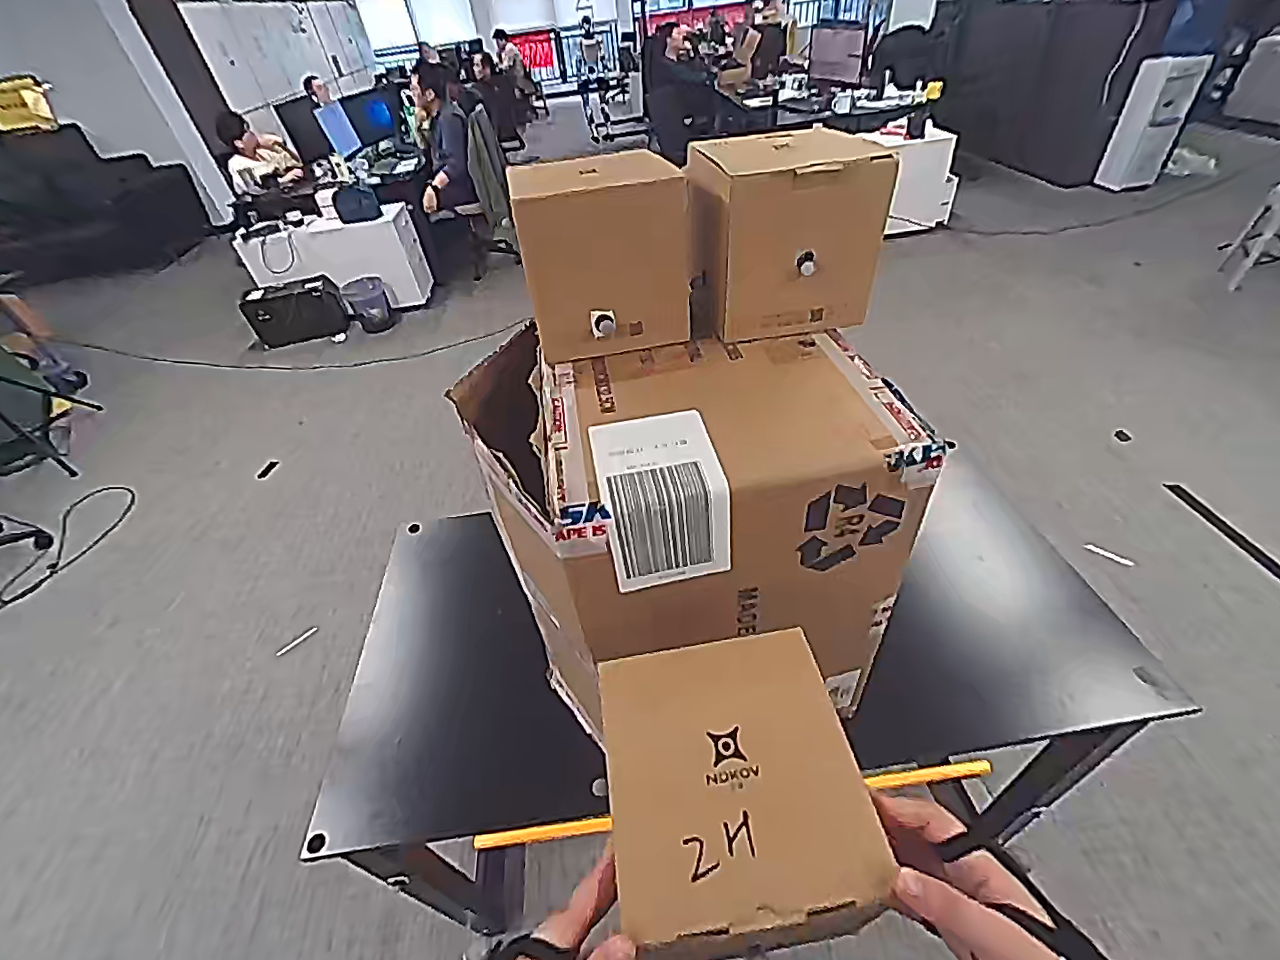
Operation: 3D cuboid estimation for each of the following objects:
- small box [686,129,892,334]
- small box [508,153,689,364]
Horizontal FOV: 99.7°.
[{"bbox_3d":[0.151,-0.276,0.612,0.168,0.176,0.179,-8,42,-5],"label":"small box"},{"bbox_3d":[-0.047,-0.252,0.611,0.168,0.176,0.179,-13,41,-6],"label":"small box"}]
